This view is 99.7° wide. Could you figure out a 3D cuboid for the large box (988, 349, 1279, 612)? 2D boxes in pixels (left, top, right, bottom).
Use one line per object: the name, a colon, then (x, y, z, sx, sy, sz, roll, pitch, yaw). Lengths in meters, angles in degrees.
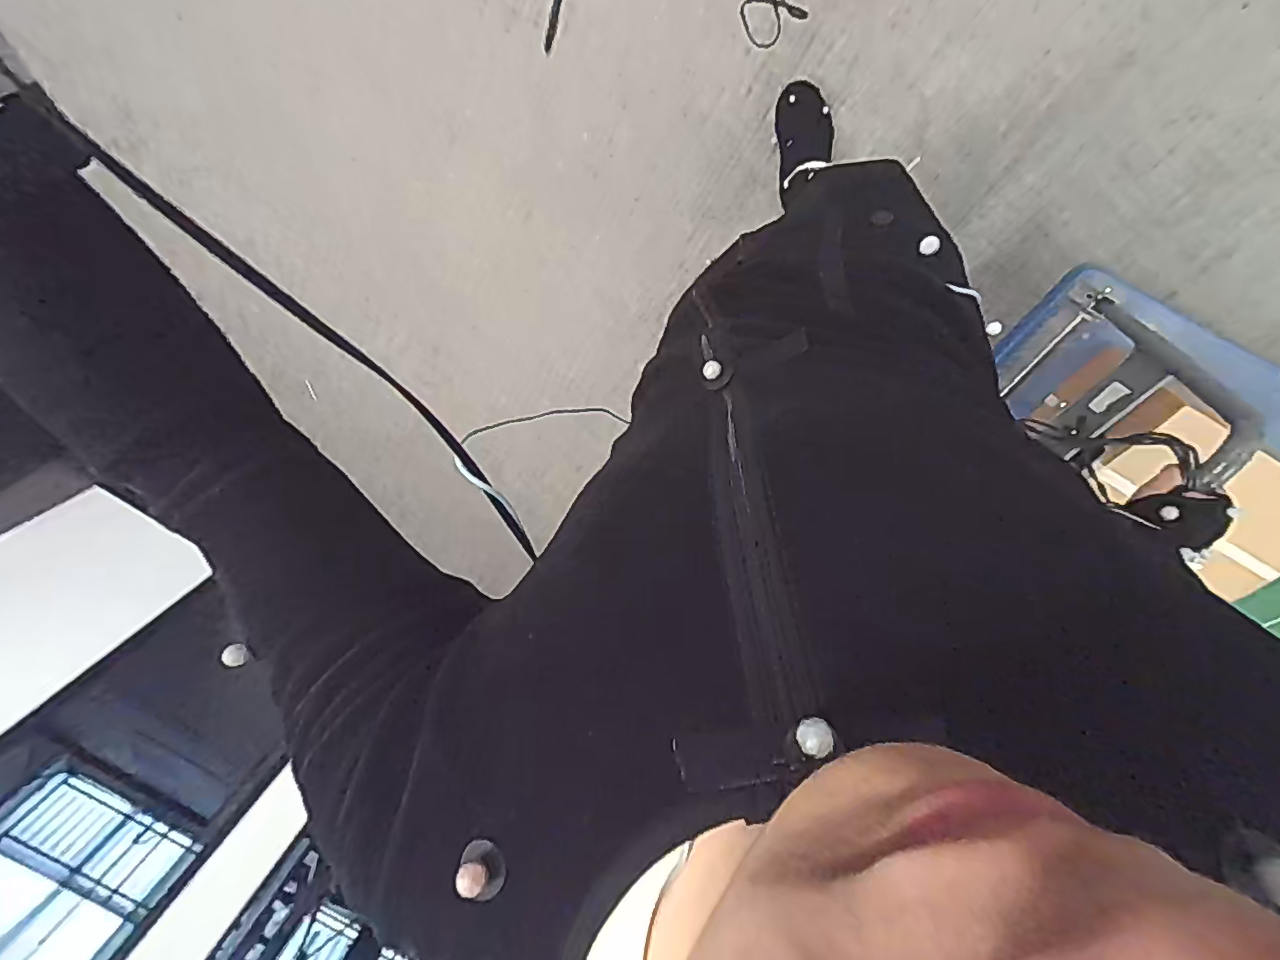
large box: (1.043, -0.009, 1.127, 0.408, 0.320, 0.320, 30, 128, -2)
